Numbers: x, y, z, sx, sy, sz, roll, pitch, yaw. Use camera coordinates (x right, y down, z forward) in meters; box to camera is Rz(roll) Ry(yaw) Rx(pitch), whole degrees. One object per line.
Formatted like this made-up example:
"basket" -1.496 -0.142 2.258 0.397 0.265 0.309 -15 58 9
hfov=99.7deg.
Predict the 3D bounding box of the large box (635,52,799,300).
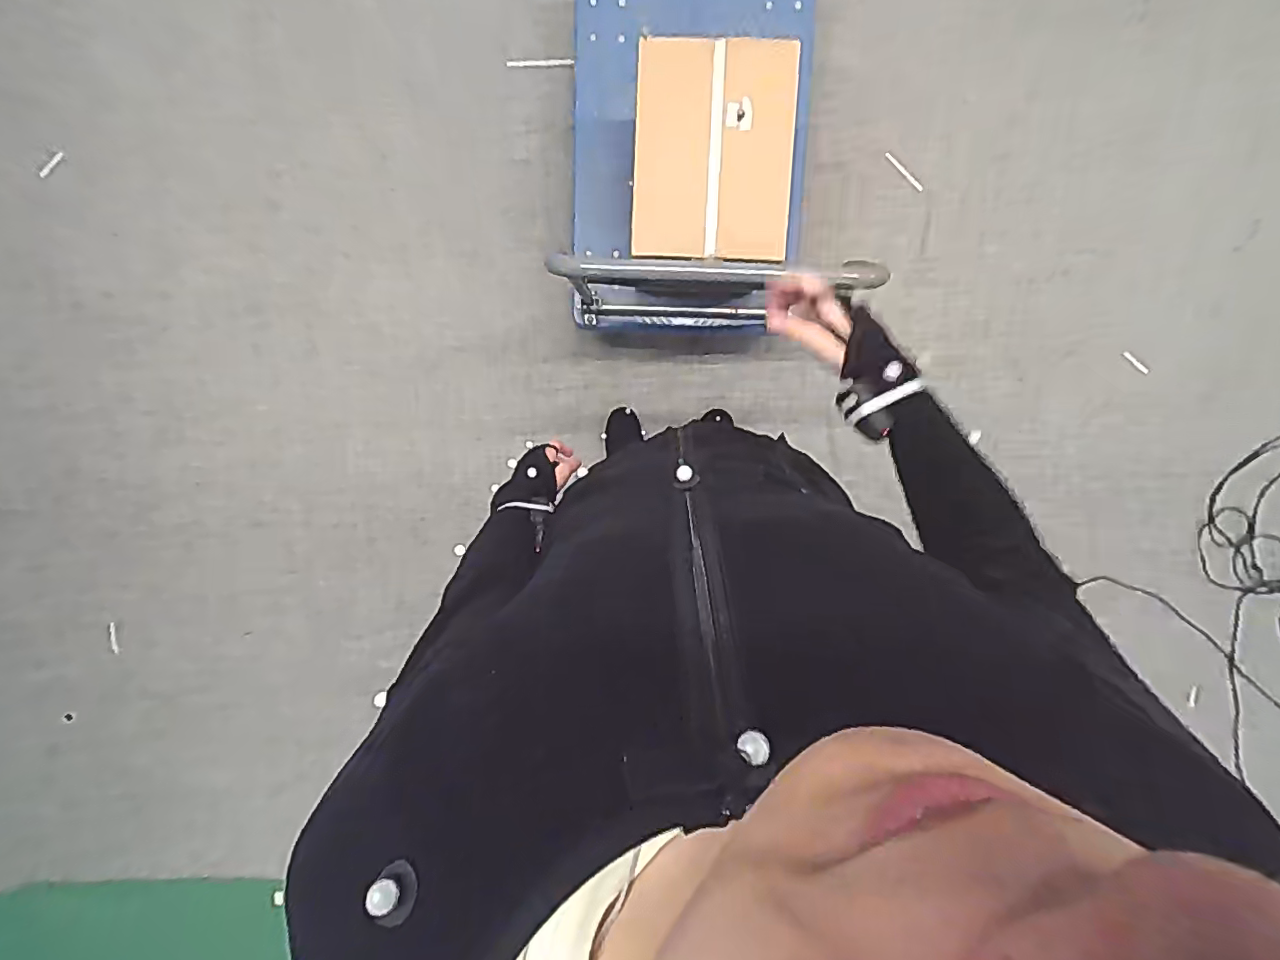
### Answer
"large box" 0.153 -0.639 1.210 0.320 0.320 0.408 2 96 0
